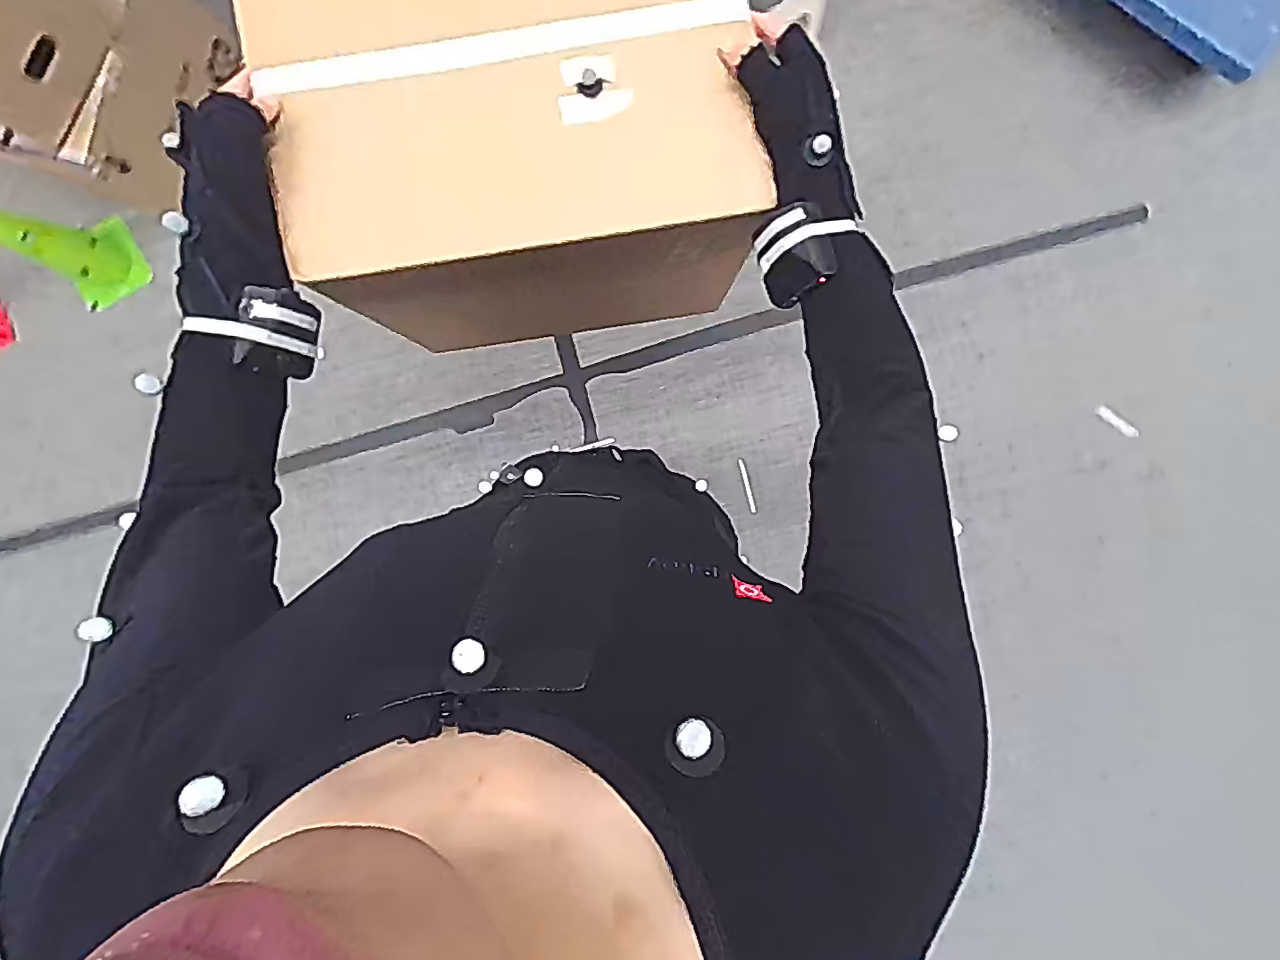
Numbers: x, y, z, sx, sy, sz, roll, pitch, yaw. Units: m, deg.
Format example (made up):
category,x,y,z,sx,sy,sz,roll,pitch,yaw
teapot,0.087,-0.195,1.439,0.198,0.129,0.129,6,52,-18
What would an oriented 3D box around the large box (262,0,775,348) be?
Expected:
category,x,y,z,sx,sy,sz,roll,pitch,yaw
large box,-0.107,-0.357,0.596,0.408,0.320,0.320,-8,92,-1
